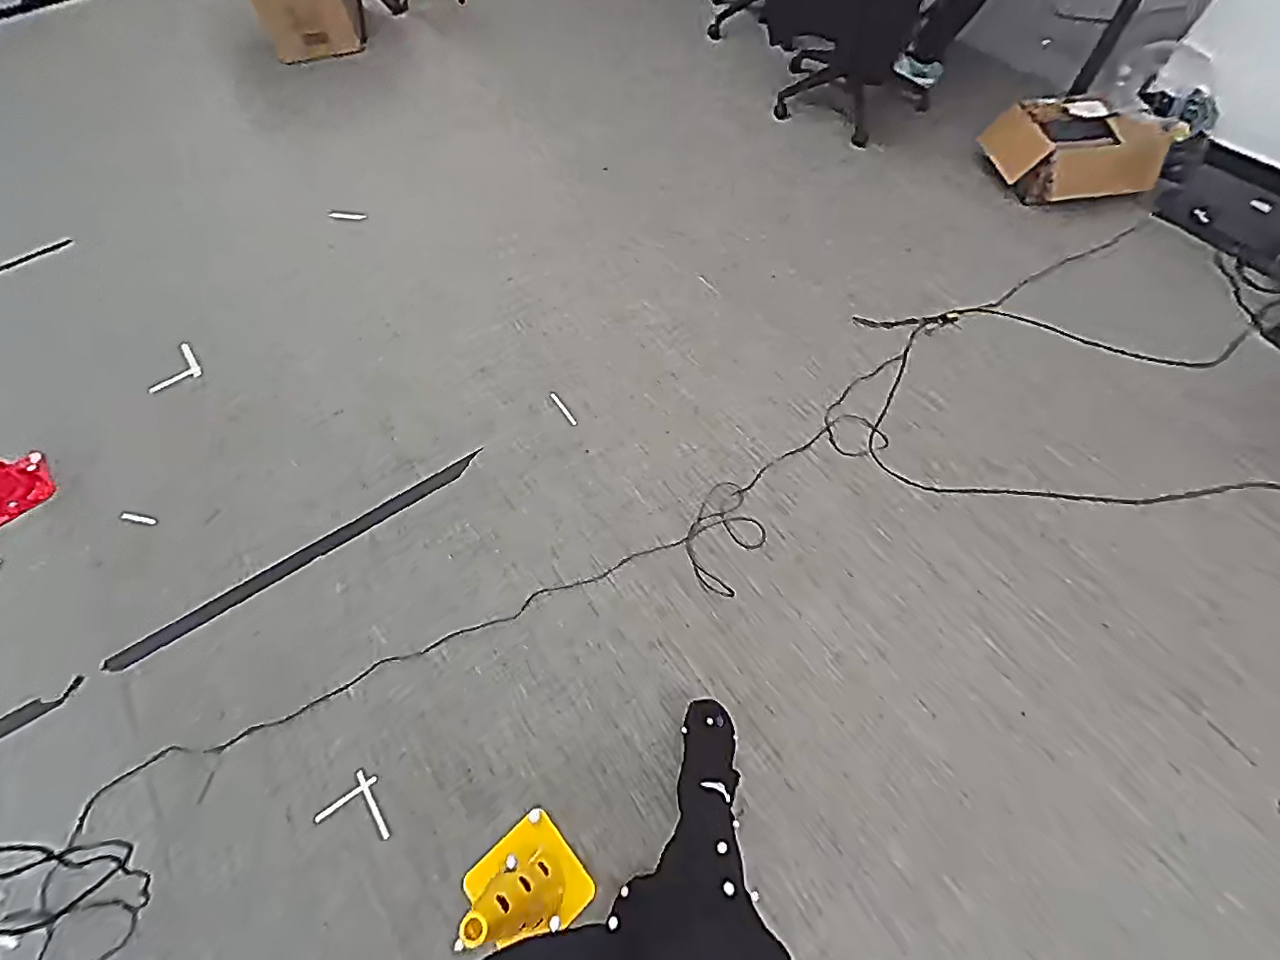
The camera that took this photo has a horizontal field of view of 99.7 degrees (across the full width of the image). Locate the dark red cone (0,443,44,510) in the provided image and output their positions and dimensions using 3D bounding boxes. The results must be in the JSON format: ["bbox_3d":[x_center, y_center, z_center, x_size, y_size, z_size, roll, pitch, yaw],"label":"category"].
[{"bbox_3d":[-1.822,-0.070,1.390,0.202,0.394,0.201,-39,68,-17],"label":"dark red cone"}]
